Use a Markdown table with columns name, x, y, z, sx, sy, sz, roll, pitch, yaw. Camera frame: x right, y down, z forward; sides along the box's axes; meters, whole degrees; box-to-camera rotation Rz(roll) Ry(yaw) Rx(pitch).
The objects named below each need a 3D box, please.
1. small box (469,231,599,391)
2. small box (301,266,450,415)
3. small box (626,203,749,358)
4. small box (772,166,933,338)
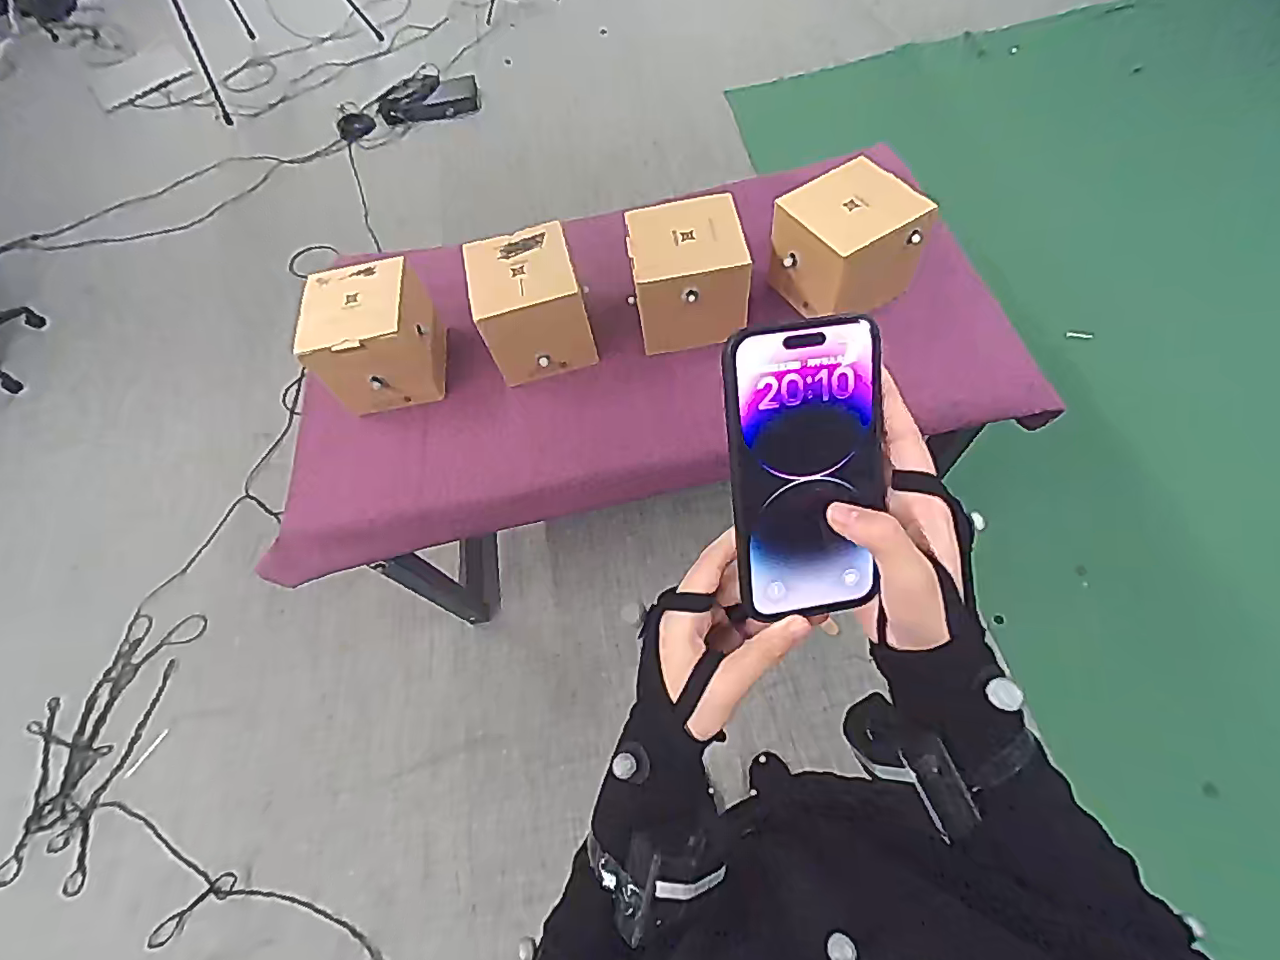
| name | x | y | z | sx | sy | sz | roll | pitch | yaw |
| --- | --- | --- | --- | --- | --- | --- | --- | --- | --- |
| small box | -0.176 | -0.281 | 0.919 | 0.168 | 0.176 | 0.179 | -15 | 62 | 0 |
| small box | -0.439 | -0.227 | 0.927 | 0.168 | 0.176 | 0.179 | -11 | 62 | 2 |
| small box | 0.080 | -0.325 | 0.907 | 0.179 | 0.176 | 0.168 | -9 | 62 | 3 |
| small box | 0.334 | -0.369 | 0.893 | 0.179 | 0.176 | 0.168 | -30 | 61 | -9 |
